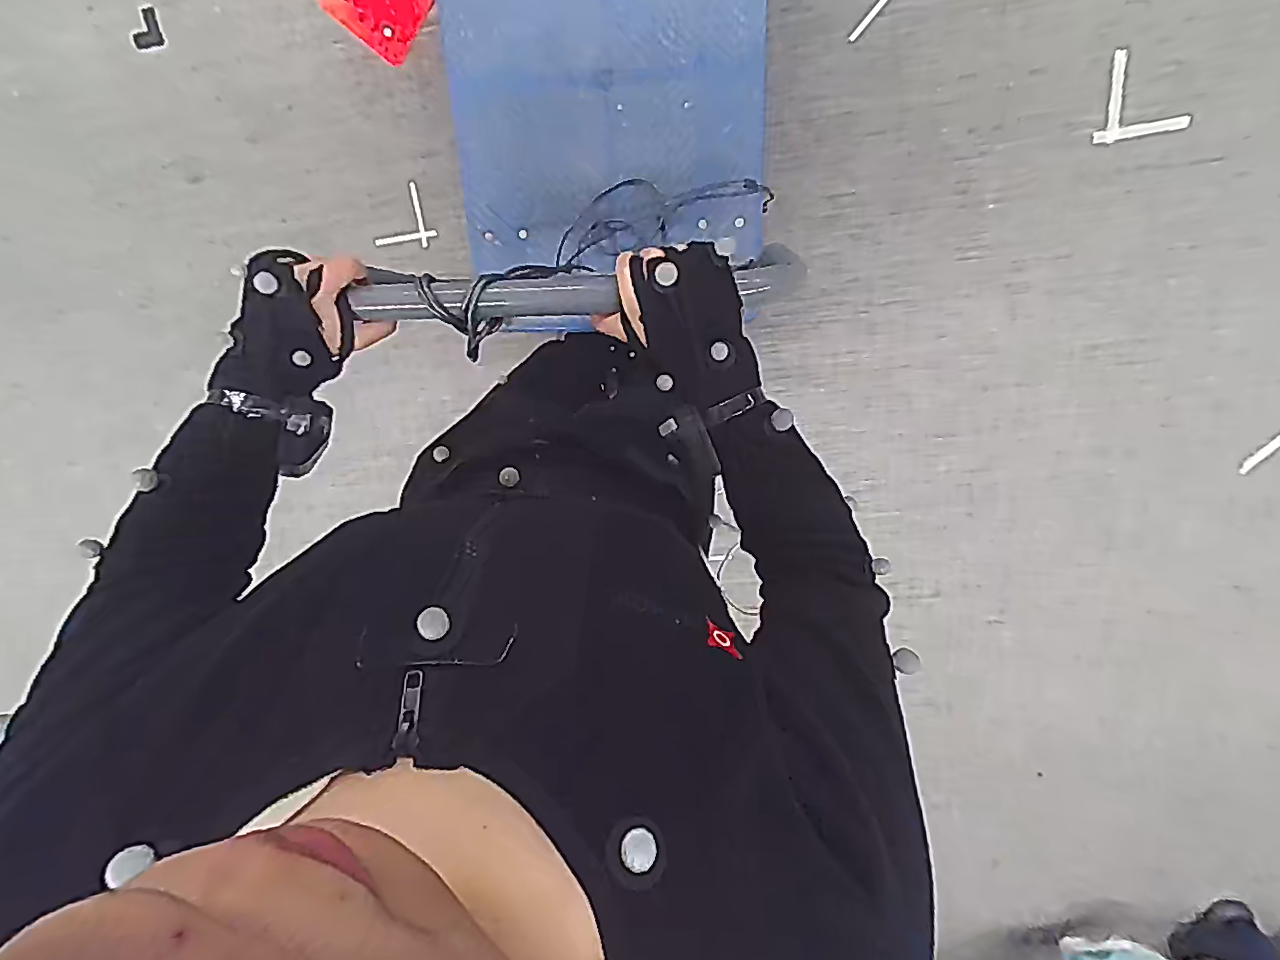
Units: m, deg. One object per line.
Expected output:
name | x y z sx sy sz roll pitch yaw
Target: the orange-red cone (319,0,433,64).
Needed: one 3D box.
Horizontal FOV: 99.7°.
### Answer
orange-red cone | -0.541 -0.938 0.931 0.198 0.360 0.199 39 106 -9
